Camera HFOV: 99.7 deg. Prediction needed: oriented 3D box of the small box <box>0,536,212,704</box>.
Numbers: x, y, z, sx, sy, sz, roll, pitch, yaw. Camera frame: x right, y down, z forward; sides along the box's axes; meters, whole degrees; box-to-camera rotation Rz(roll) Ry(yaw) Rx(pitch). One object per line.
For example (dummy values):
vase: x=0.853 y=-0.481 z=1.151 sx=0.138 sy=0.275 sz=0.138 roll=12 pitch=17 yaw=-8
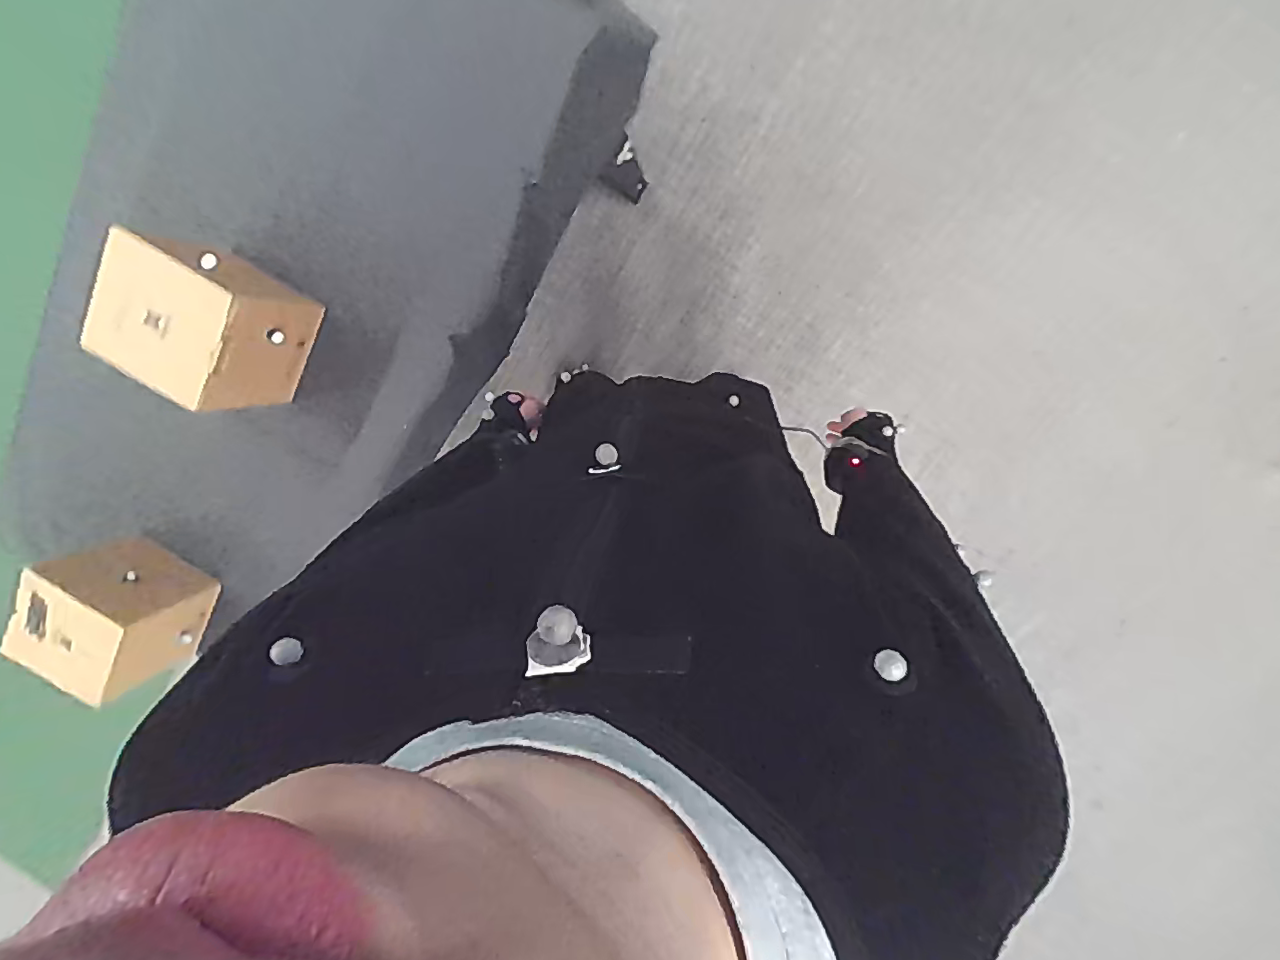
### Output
small box: x=-0.853 y=0.209 z=0.866 sx=0.179 sy=0.176 sz=0.168 roll=32 pitch=105 yaw=-1

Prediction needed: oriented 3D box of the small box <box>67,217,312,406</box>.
small box: x=-0.594 y=-0.220 z=0.735 sx=0.179 sy=0.176 sz=0.168 roll=31 pitch=104 yaw=0
